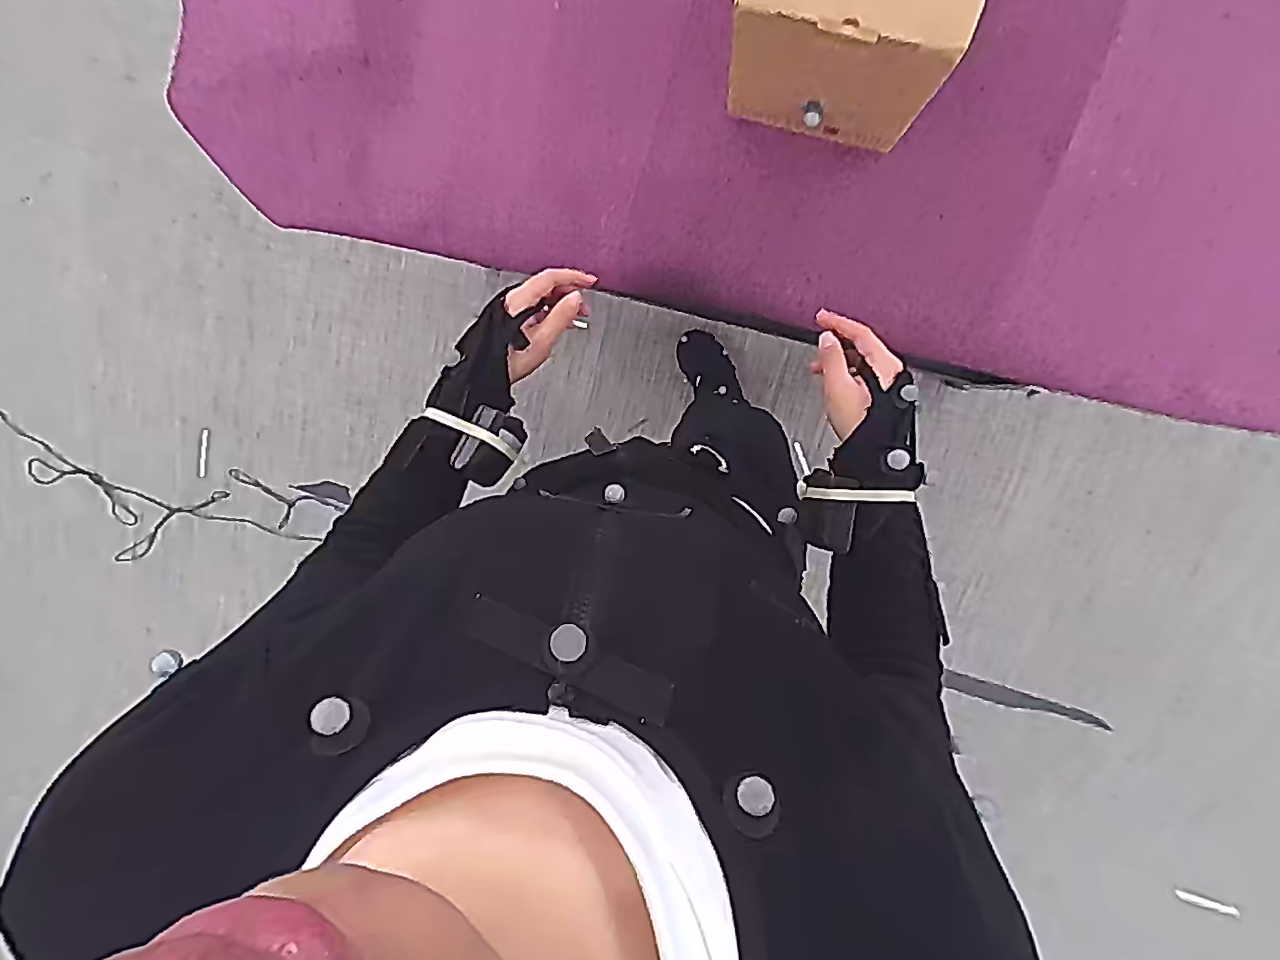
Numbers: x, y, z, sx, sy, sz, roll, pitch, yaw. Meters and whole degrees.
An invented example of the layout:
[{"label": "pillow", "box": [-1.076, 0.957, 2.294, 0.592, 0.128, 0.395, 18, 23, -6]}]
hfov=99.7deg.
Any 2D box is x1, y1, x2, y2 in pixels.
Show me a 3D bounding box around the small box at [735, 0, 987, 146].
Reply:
[{"label": "small box", "box": [0.177, -0.409, 0.430, 0.168, 0.176, 0.179, 17, 102, 4]}]
